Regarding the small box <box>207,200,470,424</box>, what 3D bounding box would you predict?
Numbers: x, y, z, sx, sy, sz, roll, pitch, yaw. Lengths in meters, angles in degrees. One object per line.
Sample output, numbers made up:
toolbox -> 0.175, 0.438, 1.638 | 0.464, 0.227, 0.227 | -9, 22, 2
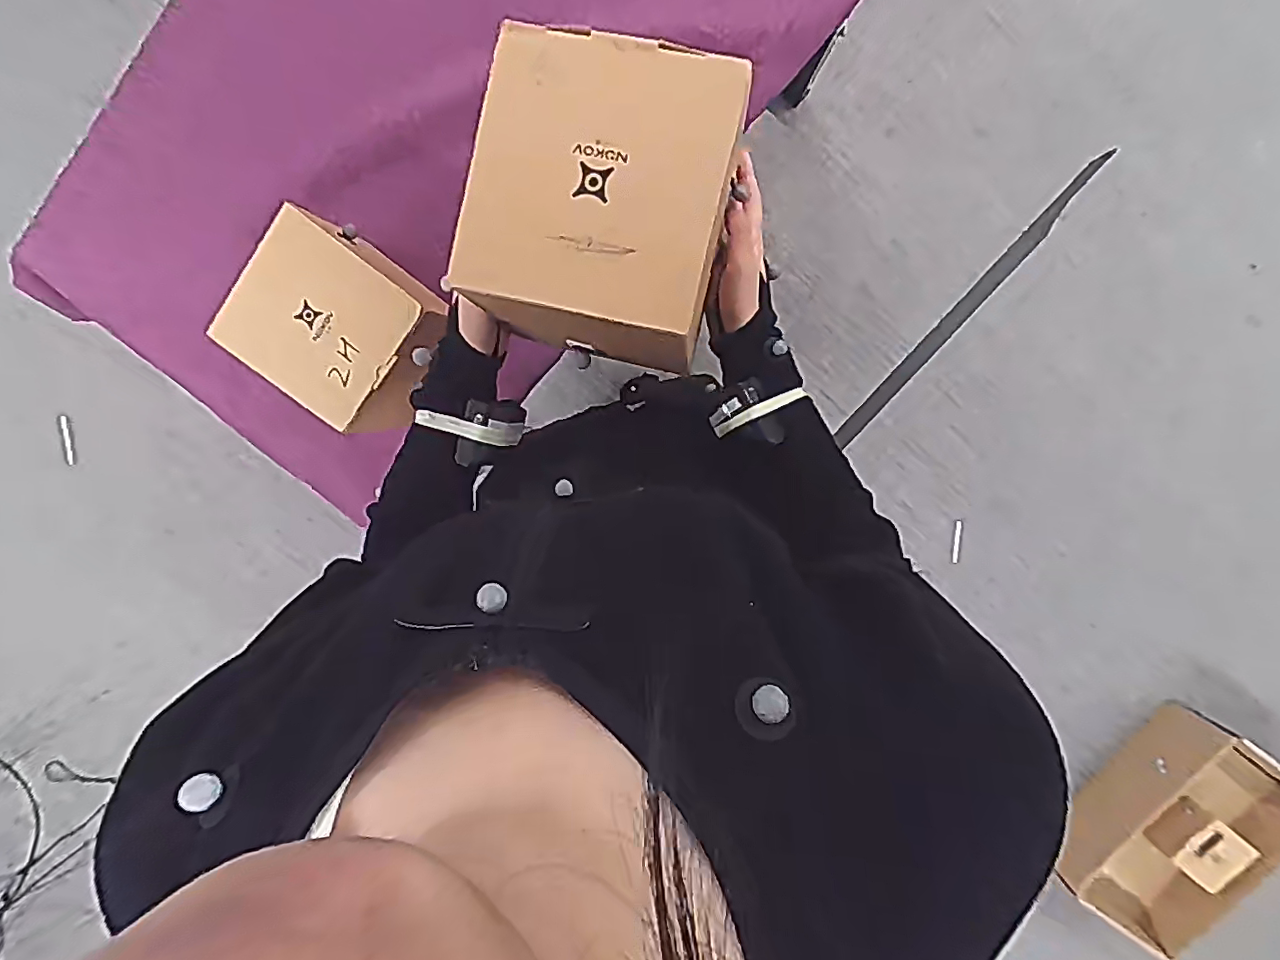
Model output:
small box -> -0.338, -0.184, 0.643 | 0.179, 0.176, 0.168 | 37, 98, -5

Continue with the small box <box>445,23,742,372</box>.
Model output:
small box -> -0.026, -0.199, 0.429 | 0.168, 0.176, 0.179 | 13, 94, 5
